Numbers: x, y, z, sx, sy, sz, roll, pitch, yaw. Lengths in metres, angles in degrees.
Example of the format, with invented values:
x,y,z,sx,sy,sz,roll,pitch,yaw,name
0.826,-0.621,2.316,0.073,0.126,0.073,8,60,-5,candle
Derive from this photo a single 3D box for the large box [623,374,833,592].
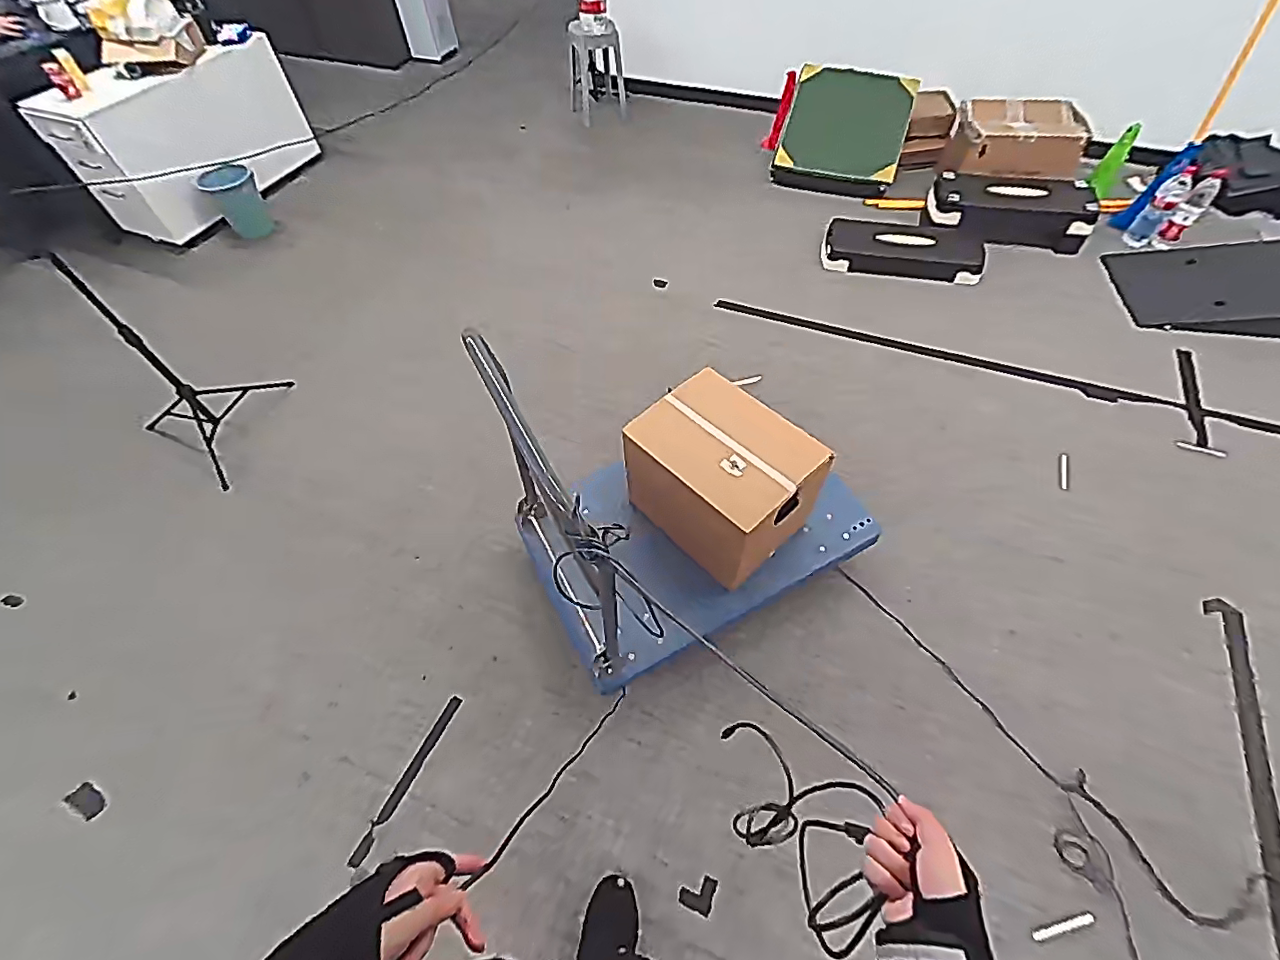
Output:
x,y,z,sx,sy,sz,roll,pitch,yaw,name
0.203,0.005,1.395,0.320,0.320,0.408,-39,62,-22,large box
